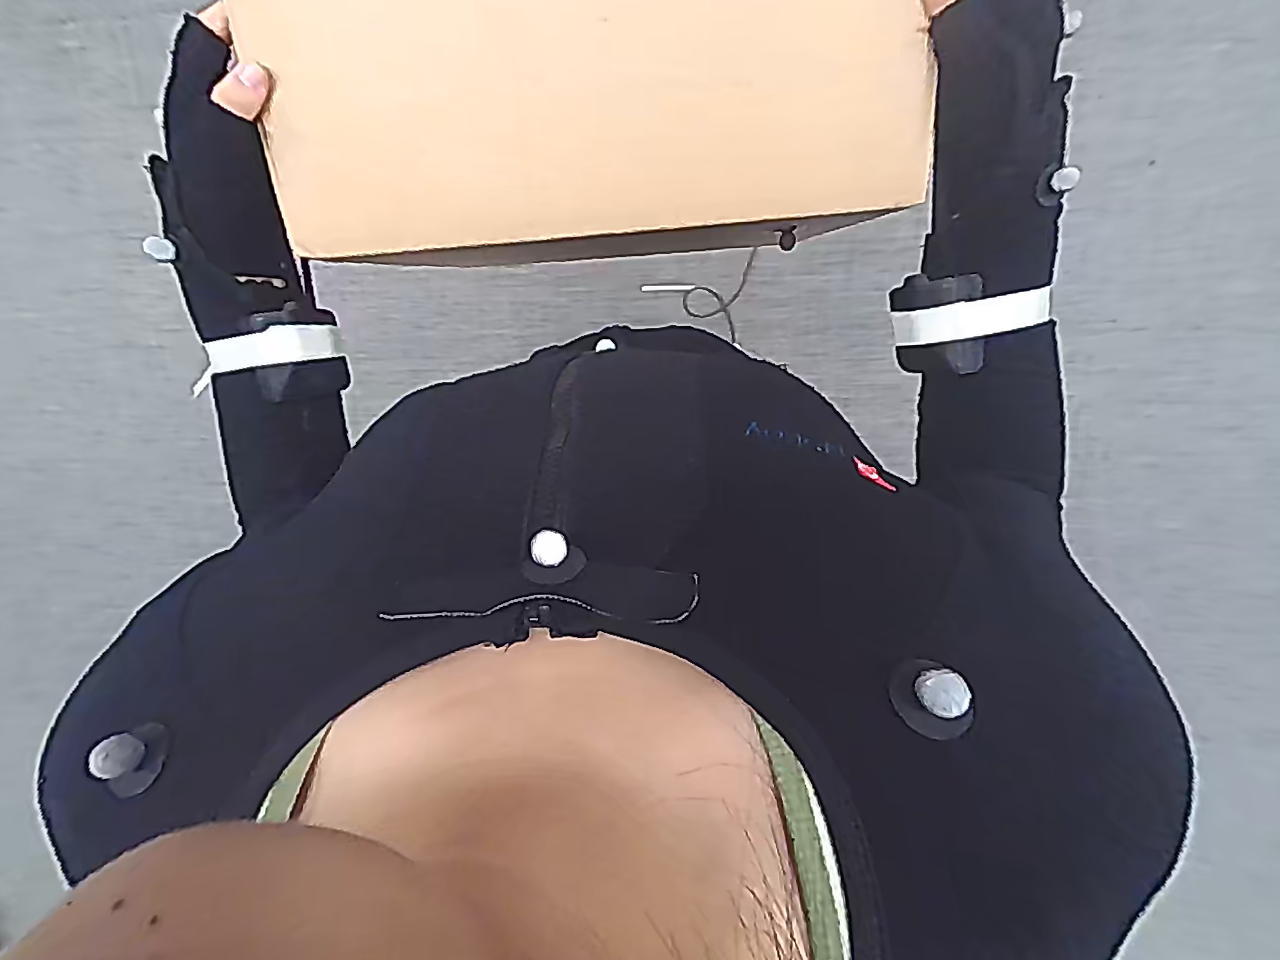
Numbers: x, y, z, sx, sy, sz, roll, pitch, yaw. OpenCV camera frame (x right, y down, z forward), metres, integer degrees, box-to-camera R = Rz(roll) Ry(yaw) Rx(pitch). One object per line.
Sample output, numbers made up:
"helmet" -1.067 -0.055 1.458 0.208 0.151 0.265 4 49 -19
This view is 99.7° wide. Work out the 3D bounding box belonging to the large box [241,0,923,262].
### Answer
"large box" -0.032 -0.360 0.442 0.408 0.320 0.320 -3 110 3
